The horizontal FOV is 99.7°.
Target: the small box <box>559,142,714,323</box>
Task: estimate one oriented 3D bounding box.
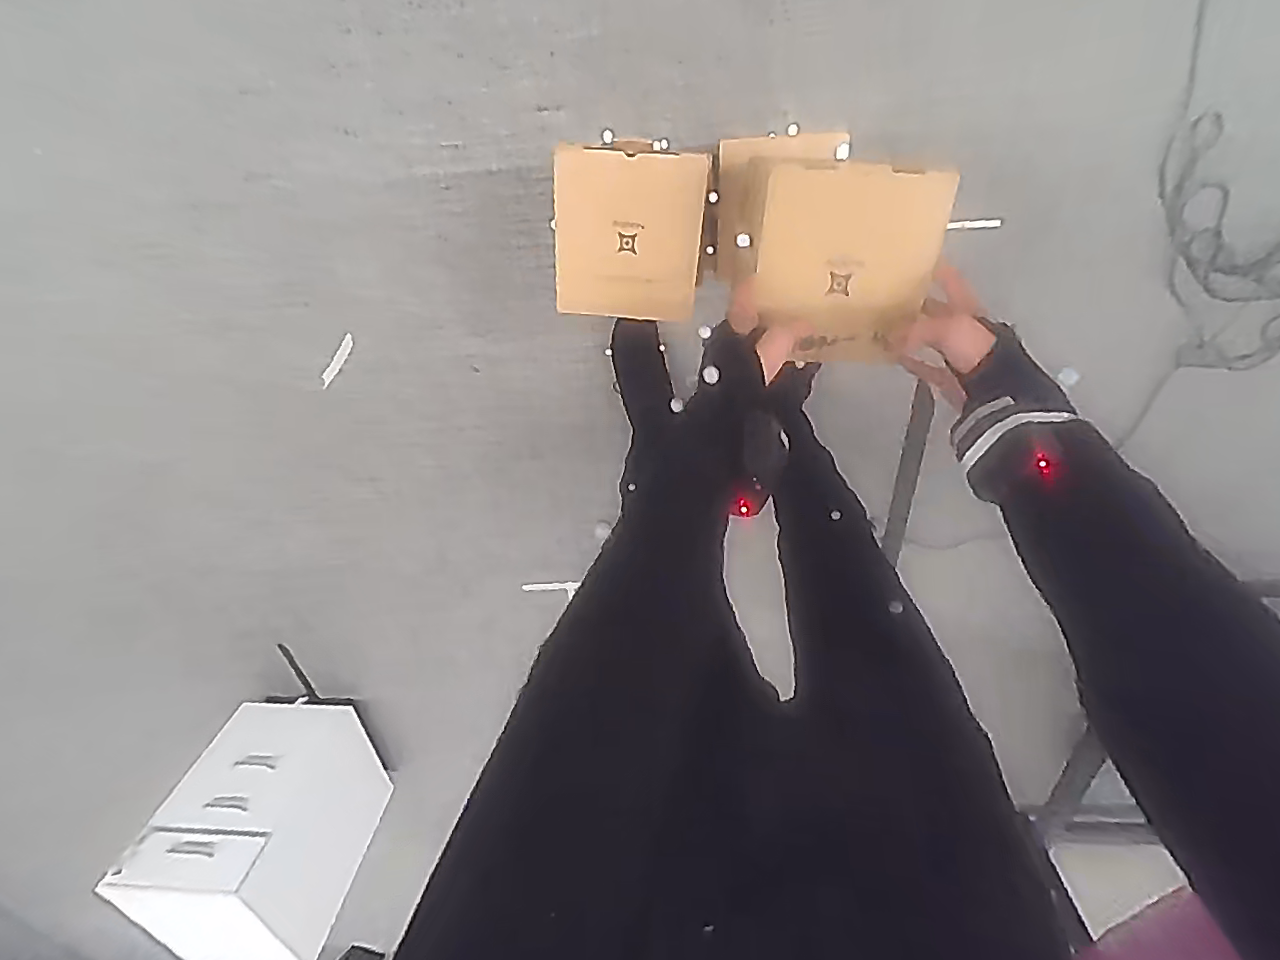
[{"bbox_3d":[-0.004,-0.309,0.671,0.168,0.176,0.179,6,122,3],"label":"small box"}]
